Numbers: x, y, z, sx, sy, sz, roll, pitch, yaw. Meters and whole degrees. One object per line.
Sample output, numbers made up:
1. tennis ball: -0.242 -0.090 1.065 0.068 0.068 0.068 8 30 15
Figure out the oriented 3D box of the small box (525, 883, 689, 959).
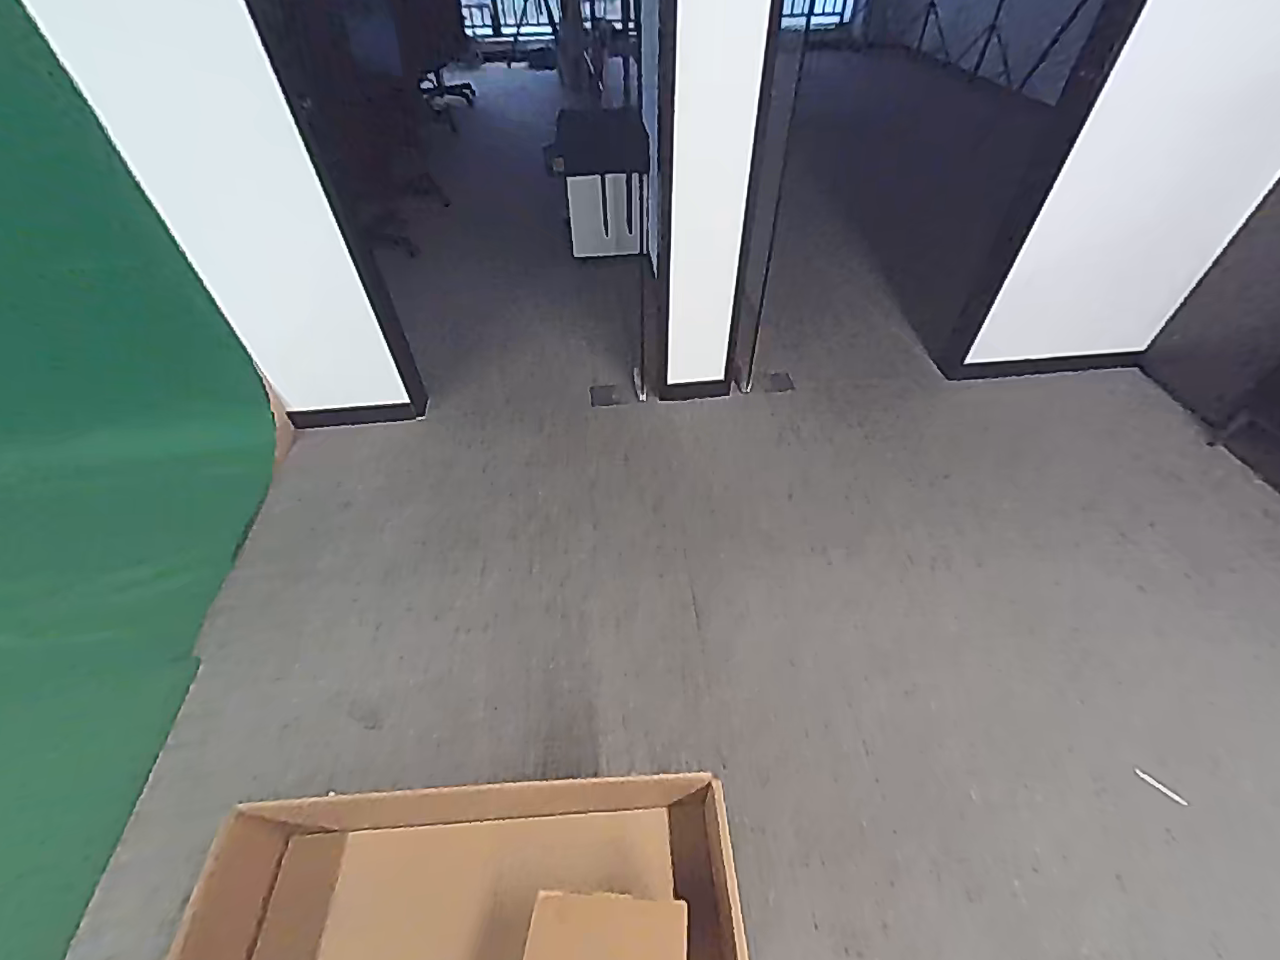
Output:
1. small box: -0.036 0.561 0.555 0.168 0.176 0.179 2 29 5
